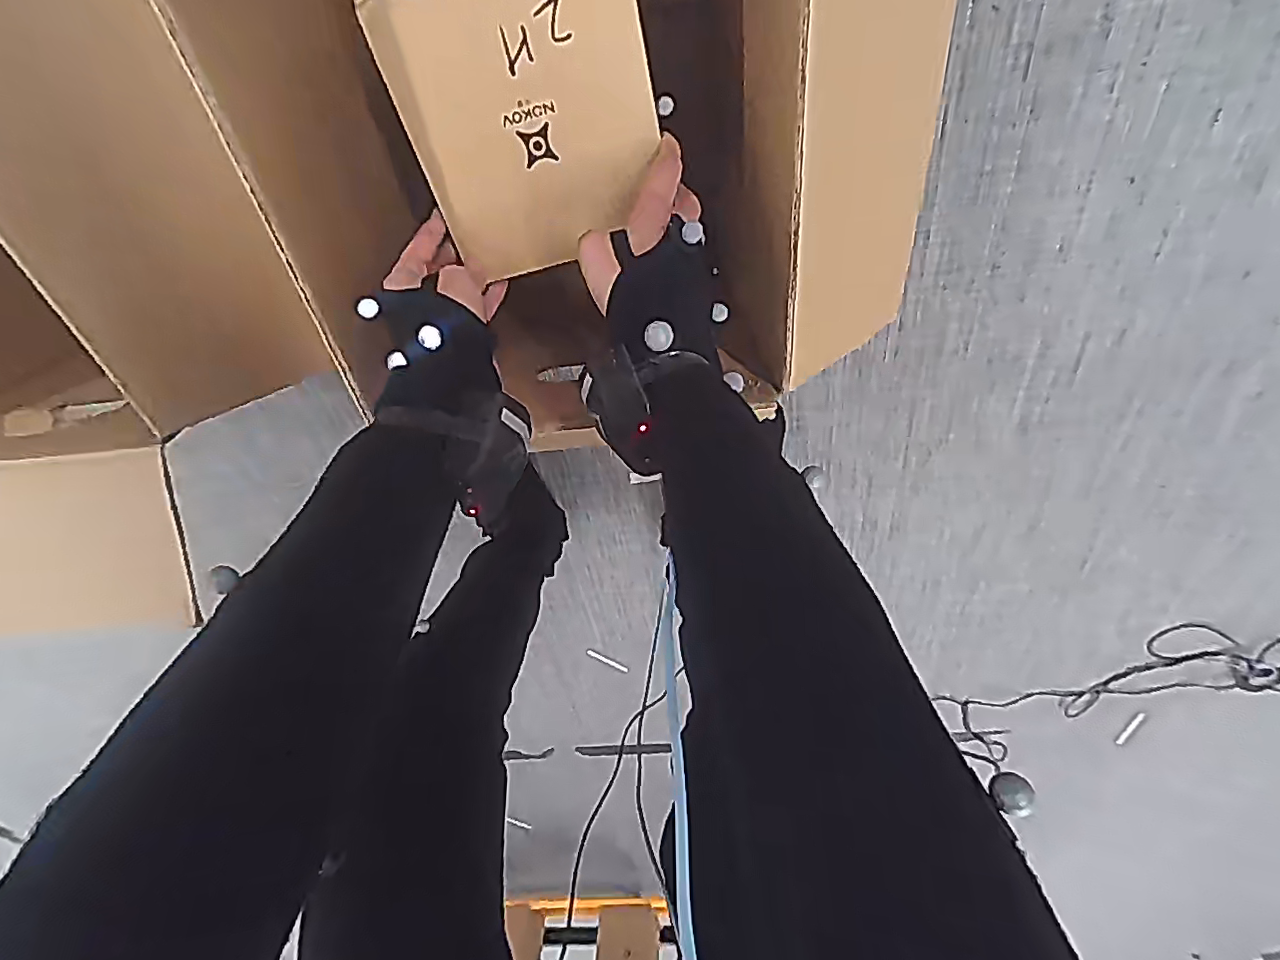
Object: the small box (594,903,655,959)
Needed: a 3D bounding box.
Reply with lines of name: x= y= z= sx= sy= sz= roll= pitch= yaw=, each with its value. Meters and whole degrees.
small box: x=-0.045 y=1.495 z=1.750 sx=0.179 sy=0.176 sz=0.168 roll=-6 pitch=128 yaw=9
